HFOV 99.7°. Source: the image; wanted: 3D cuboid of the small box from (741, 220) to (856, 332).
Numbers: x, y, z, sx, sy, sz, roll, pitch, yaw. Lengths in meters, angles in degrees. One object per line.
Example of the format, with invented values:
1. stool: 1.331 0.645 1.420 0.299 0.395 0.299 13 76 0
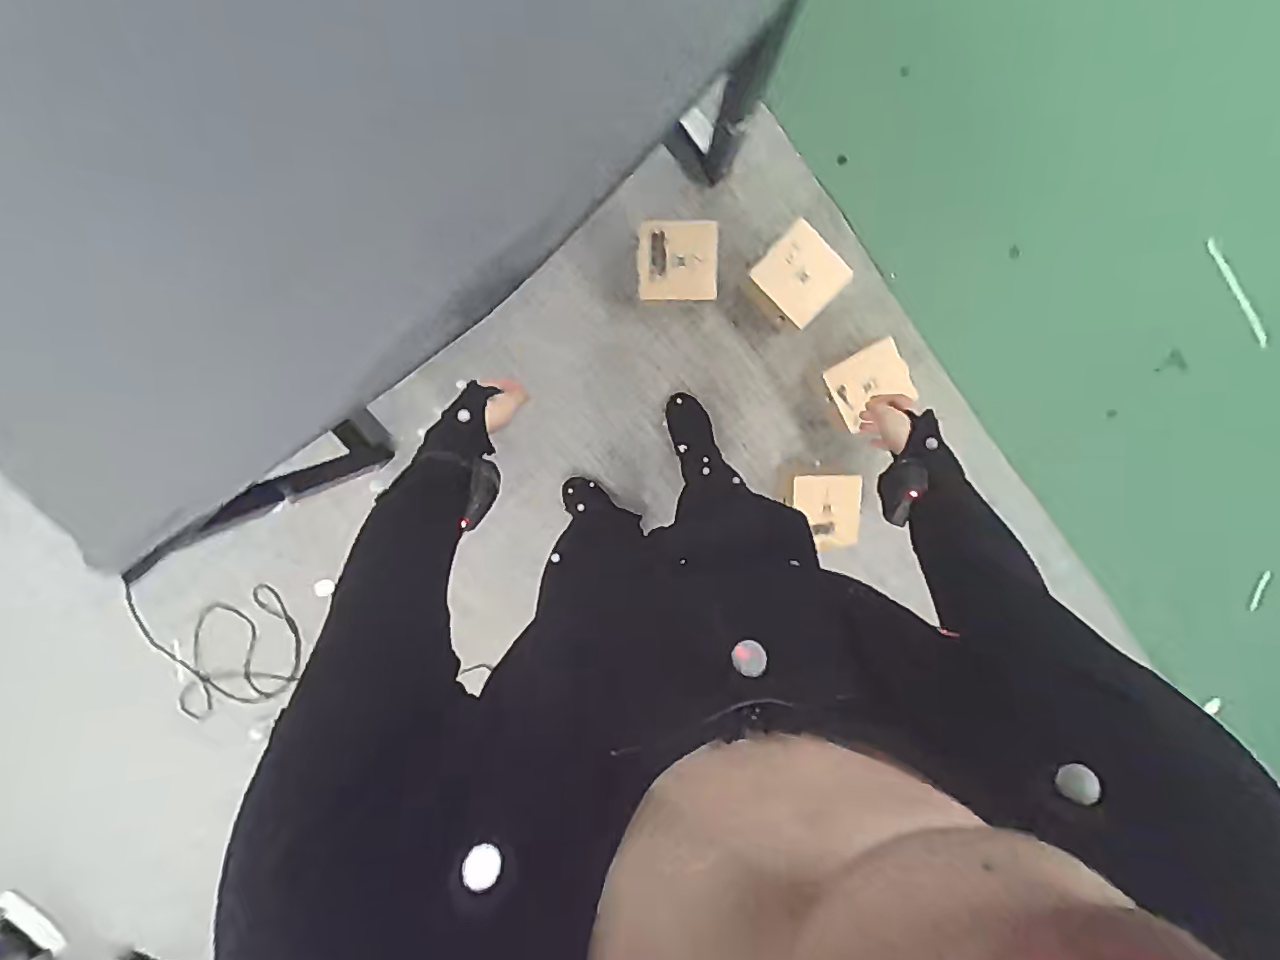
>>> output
1. small box: 0.360 -0.465 1.264 0.179 0.176 0.168 44 99 -8

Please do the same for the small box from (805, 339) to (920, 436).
1. small box: 0.531 -0.228 1.313 0.179 0.176 0.168 -28 101 7

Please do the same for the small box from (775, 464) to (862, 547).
1. small box: 0.447 0.061 1.380 0.168 0.176 0.179 1 102 1
